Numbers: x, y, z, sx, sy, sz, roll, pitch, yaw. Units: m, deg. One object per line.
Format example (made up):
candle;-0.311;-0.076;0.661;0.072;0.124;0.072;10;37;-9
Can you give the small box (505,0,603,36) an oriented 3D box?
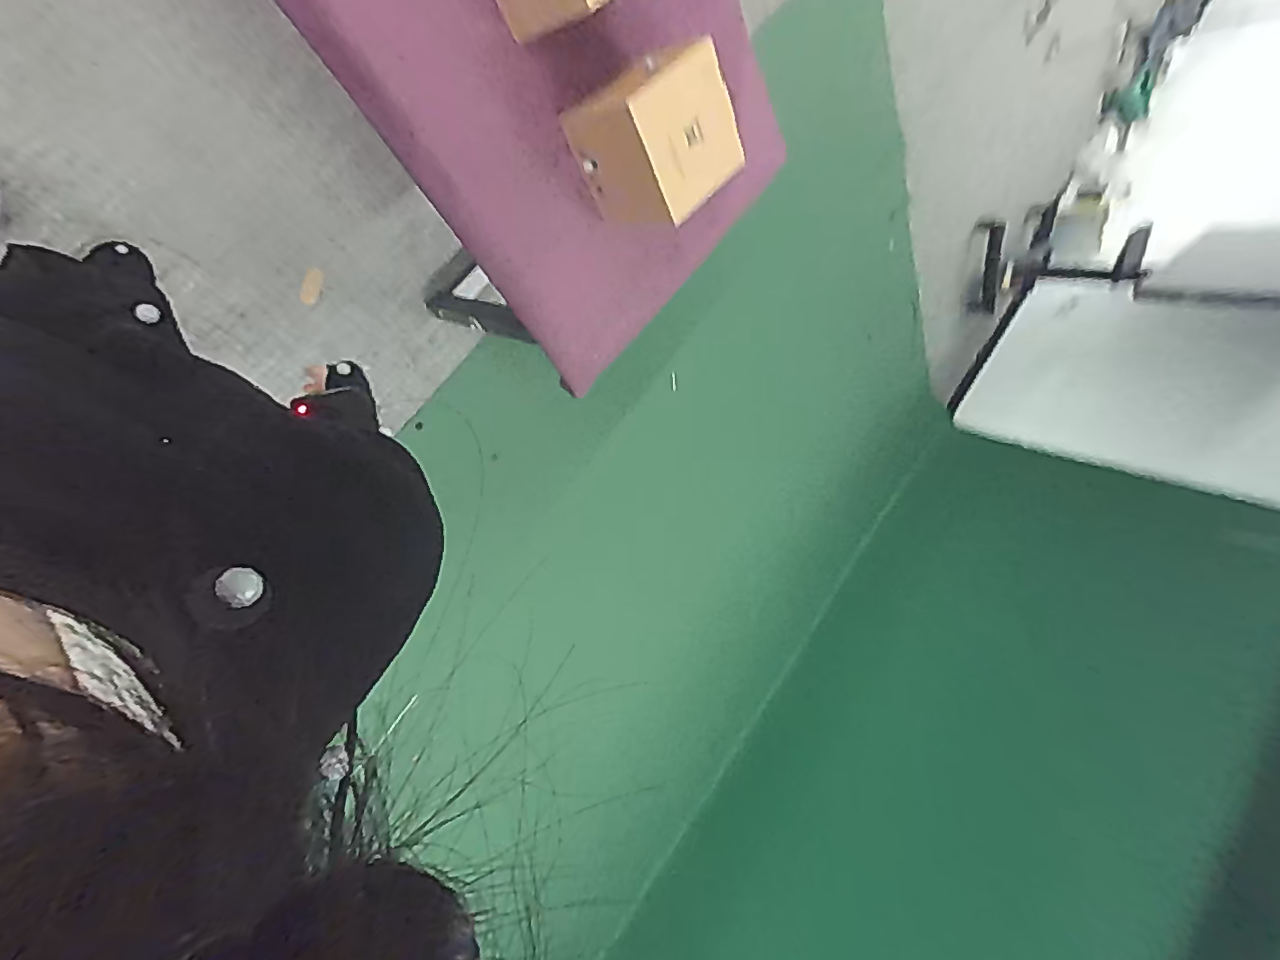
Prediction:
small box;-0.082;-0.657;0.621;0.179;0.176;0.168;-48;135;-16

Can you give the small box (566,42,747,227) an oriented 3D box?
small box;0.024;-0.499;0.799;0.179;0.176;0.168;-47;133;-17
